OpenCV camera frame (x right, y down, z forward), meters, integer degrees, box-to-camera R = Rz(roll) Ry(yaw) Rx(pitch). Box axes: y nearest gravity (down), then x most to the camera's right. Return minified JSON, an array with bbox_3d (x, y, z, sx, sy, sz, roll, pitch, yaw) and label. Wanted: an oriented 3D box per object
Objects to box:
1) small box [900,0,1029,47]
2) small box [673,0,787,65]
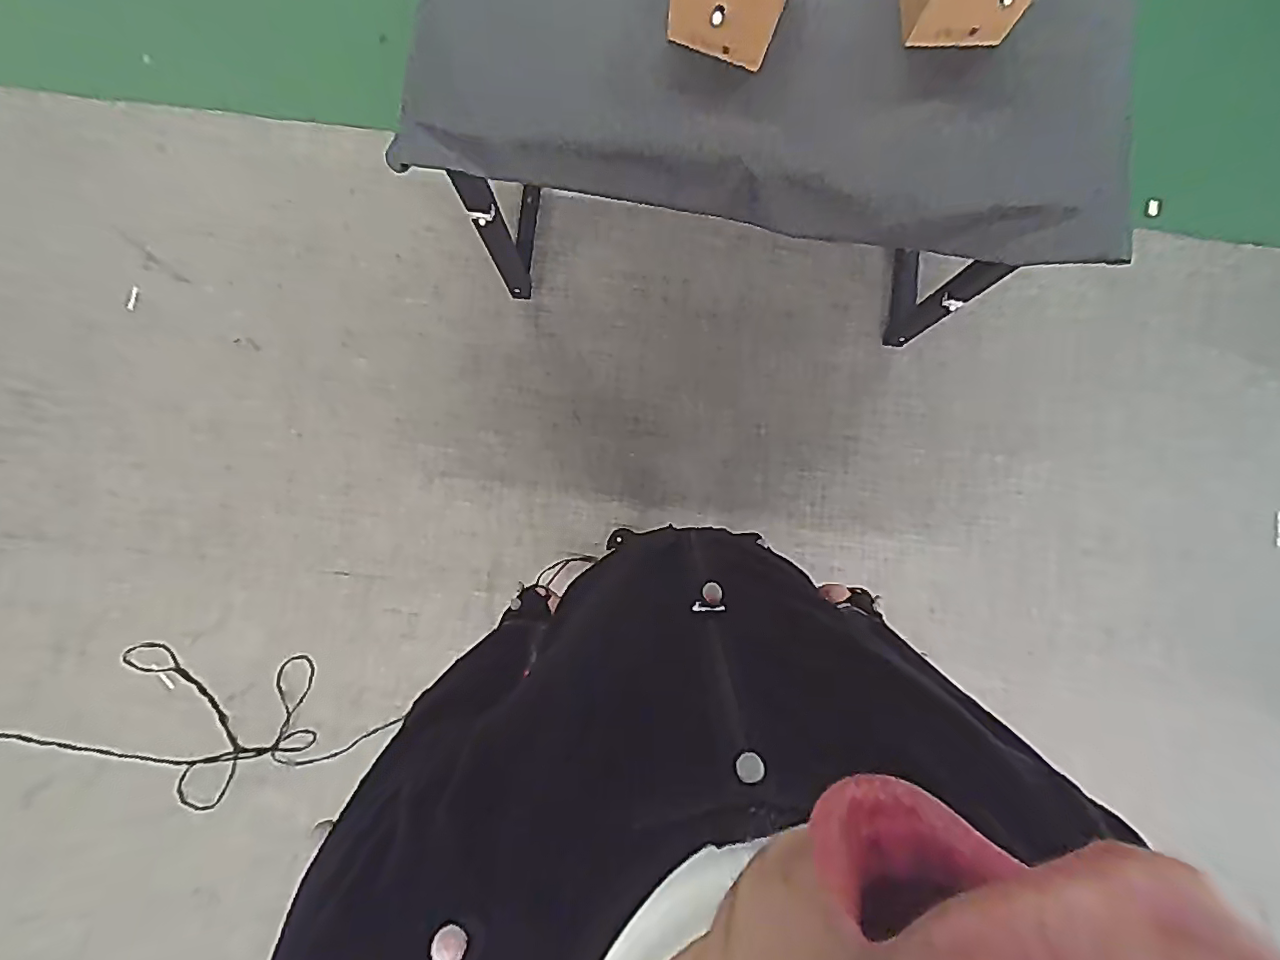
[{"bbox_3d":[0.526,-0.823,0.845,0.168,0.176,0.179,-1,84,-3],"label":"small box"},{"bbox_3d":[0.156,-0.797,0.830,0.168,0.176,0.179,21,85,0],"label":"small box"}]
